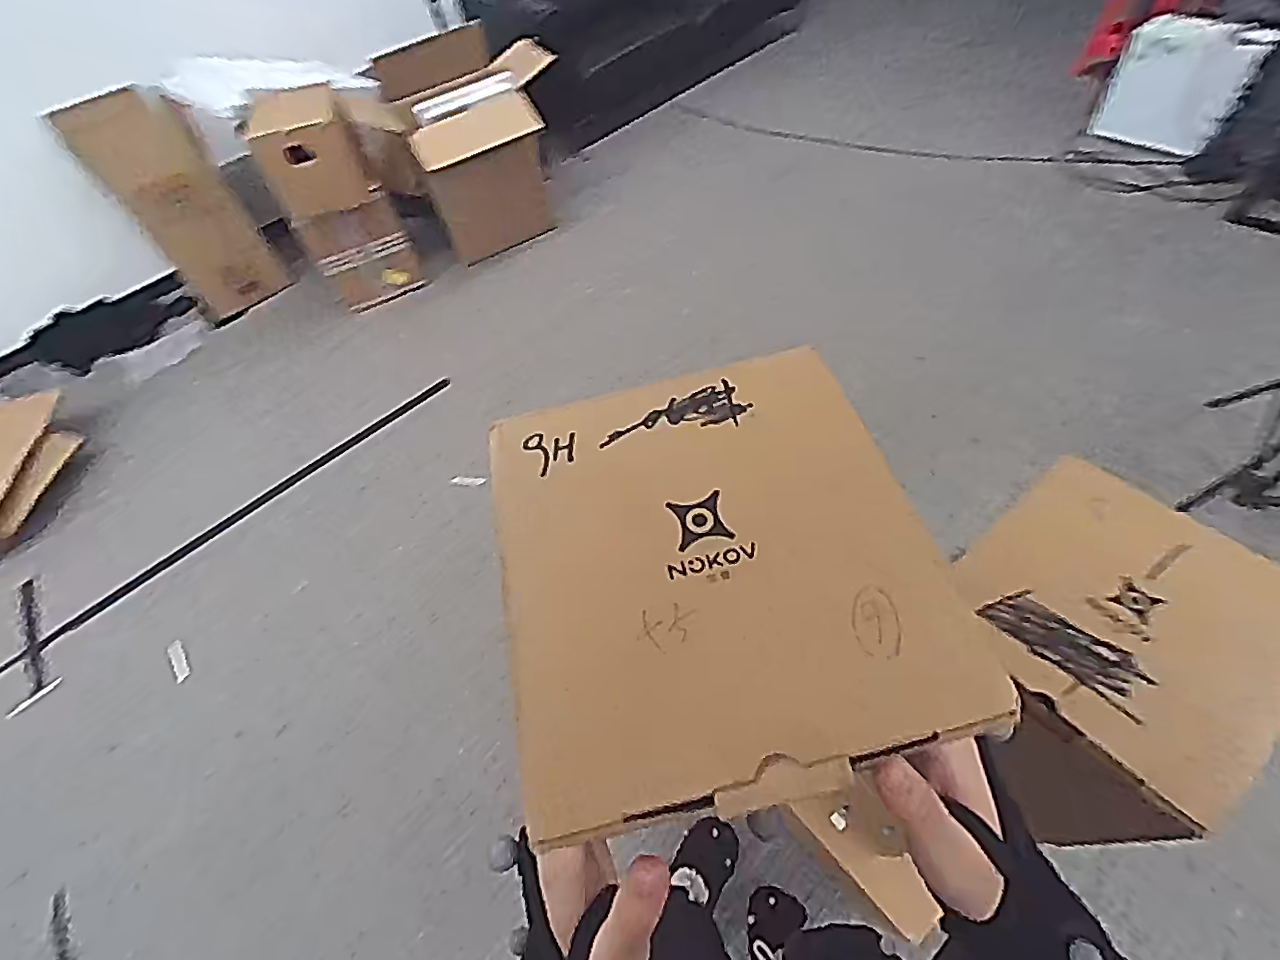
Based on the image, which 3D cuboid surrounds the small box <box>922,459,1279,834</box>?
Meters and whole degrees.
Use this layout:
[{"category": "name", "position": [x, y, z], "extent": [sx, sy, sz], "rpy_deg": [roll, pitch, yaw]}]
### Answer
[{"category": "small box", "position": [0.306, 0.126, 0.396], "extent": [0.179, 0.176, 0.168], "rpy_deg": [-36, 57, -15]}]

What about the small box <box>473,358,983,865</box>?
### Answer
[{"category": "small box", "position": [0.026, 0.071, 0.287], "extent": [0.168, 0.176, 0.179], "rpy_deg": [-15, 59, -3]}]

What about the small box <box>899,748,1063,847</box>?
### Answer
[{"category": "small box", "position": [0.329, 0.218, 0.530], "extent": [0.168, 0.176, 0.179], "rpy_deg": [-37, 56, -14]}]

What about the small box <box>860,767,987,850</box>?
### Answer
[{"category": "small box", "position": [0.353, 0.311, 0.661], "extent": [0.168, 0.176, 0.179], "rpy_deg": [-36, 57, -15]}]

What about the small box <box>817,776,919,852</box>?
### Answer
[{"category": "small box", "position": [0.402, 0.500, 0.925], "extent": [0.168, 0.176, 0.179], "rpy_deg": [-40, 59, -16]}]
